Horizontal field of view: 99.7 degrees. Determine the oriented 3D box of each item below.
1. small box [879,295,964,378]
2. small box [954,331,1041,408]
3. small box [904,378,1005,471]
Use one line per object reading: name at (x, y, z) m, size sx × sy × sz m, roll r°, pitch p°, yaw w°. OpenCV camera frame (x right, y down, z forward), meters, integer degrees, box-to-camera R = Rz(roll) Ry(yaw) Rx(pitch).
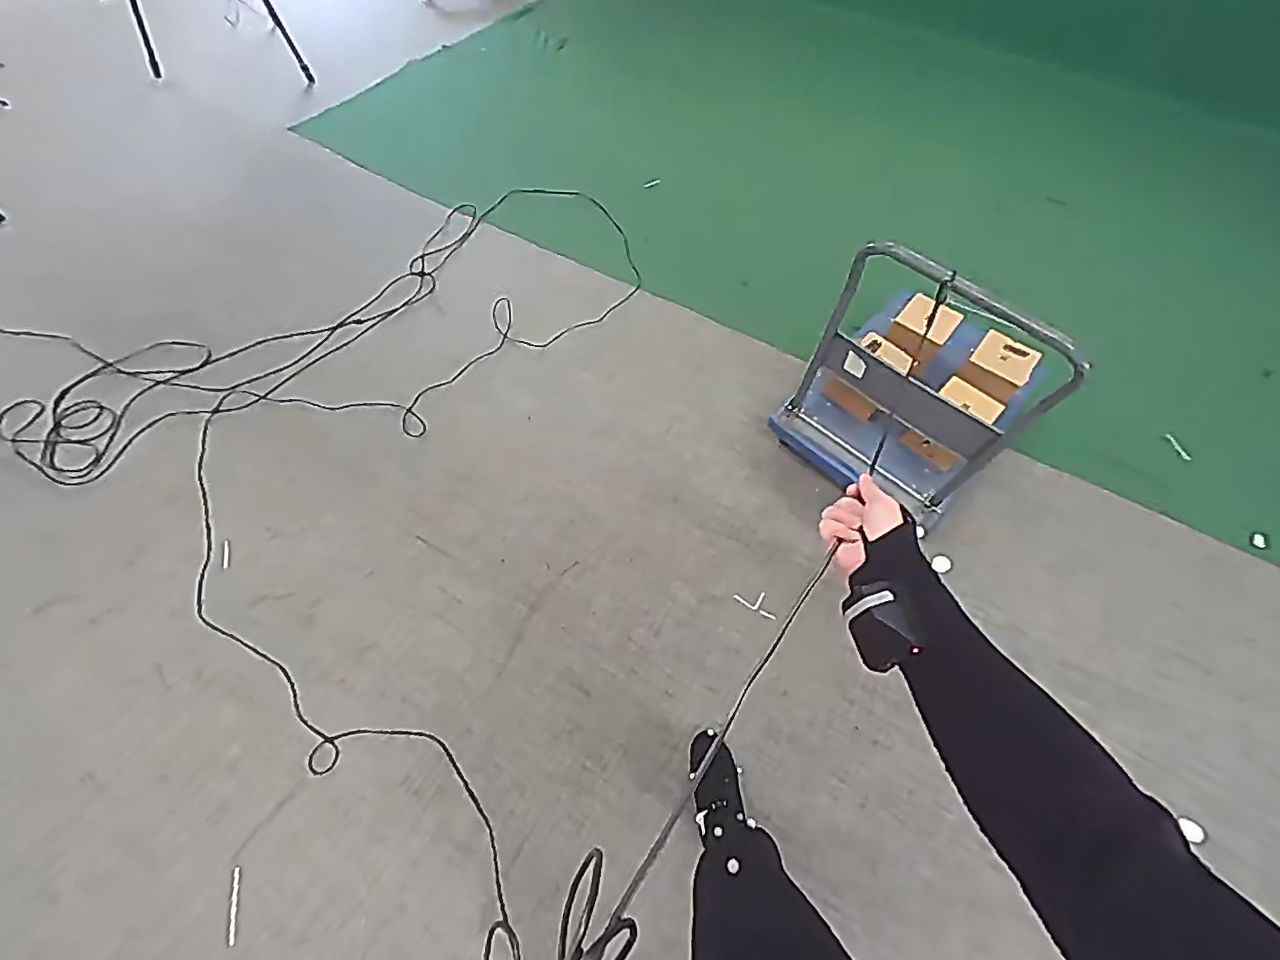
small box at (0.924, -0.472, 1.798) m, size 0.168 × 0.176 × 0.179 m, roll 37°, pitch 65°, yaw 17°
small box at (1.118, -0.330, 1.721) m, size 0.168 × 0.176 × 0.179 m, roll 36°, pitch 66°, yaw 19°
small box at (0.931, -0.163, 1.619) m, size 0.168 × 0.176 × 0.179 m, roll 41°, pitch 67°, yaw 20°
